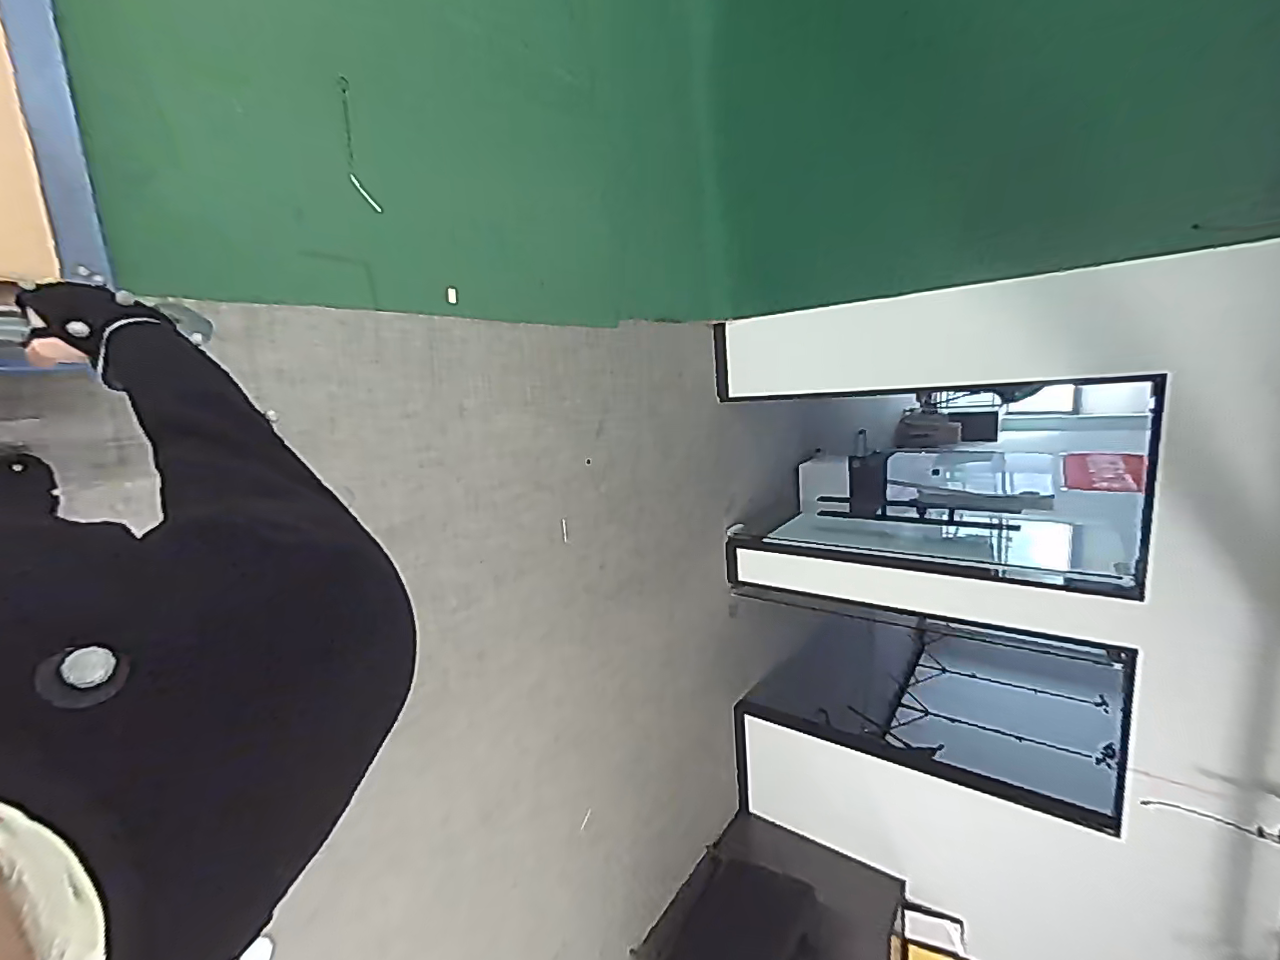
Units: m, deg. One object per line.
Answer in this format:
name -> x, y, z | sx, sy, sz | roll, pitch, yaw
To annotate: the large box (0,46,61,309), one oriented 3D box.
large box -> -1.099, -0.471, 0.753 | 0.320, 0.320, 0.408 | -18, 105, -52
